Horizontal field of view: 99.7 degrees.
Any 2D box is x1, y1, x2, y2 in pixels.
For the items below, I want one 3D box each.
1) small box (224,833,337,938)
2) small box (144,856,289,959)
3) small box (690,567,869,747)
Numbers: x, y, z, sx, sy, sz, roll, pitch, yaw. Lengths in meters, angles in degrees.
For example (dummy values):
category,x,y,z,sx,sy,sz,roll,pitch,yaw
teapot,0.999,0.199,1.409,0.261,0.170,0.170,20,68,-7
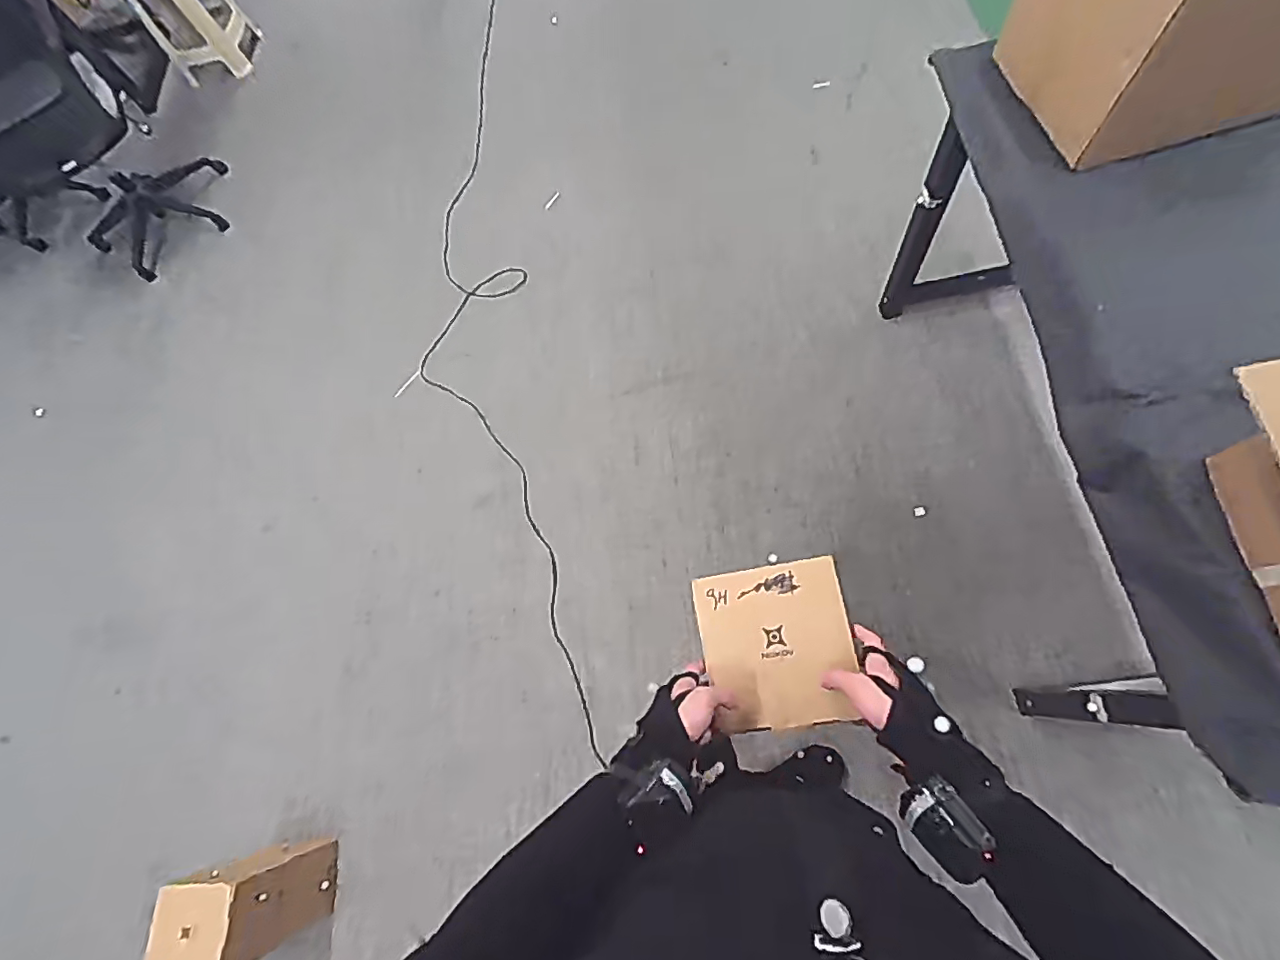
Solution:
category,x,y,z,sx,sy,sz,roll,pitch,yaw
small box,-0.876,0.977,1.311,0.179,0.176,0.168,-8,71,6
small box,-0.896,0.927,1.158,0.179,0.176,0.168,-8,70,8
small box,0.168,0.204,0.661,0.168,0.176,0.179,-12,78,14
